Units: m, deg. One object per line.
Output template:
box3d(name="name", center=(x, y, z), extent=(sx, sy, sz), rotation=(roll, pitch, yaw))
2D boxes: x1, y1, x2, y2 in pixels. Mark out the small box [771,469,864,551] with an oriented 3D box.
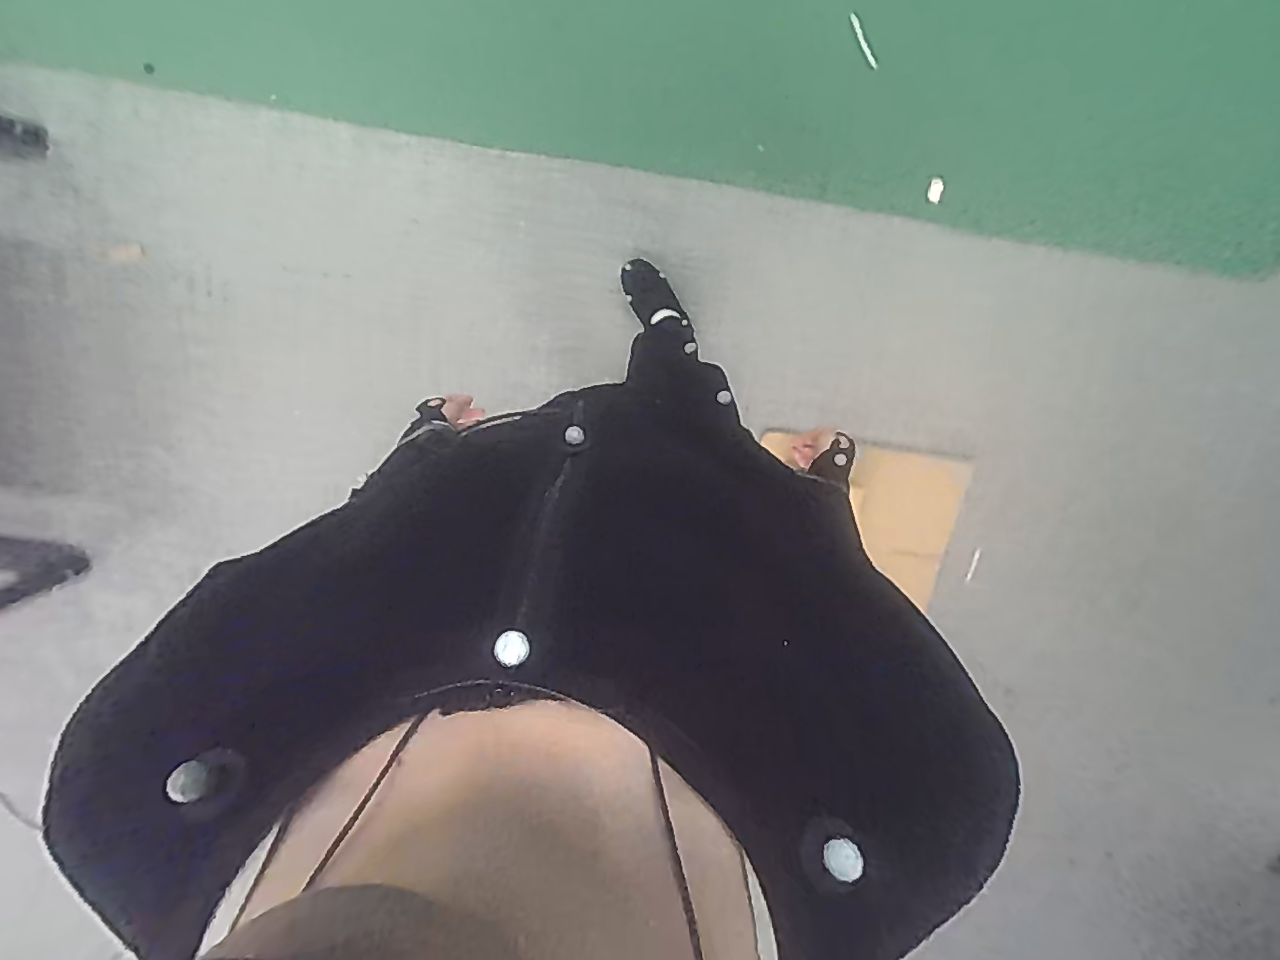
box3d(name="small box", center=(0.466, 0.075, 1.450), extent=(0.179, 0.176, 0.168), rotation=(7, 106, -3))
